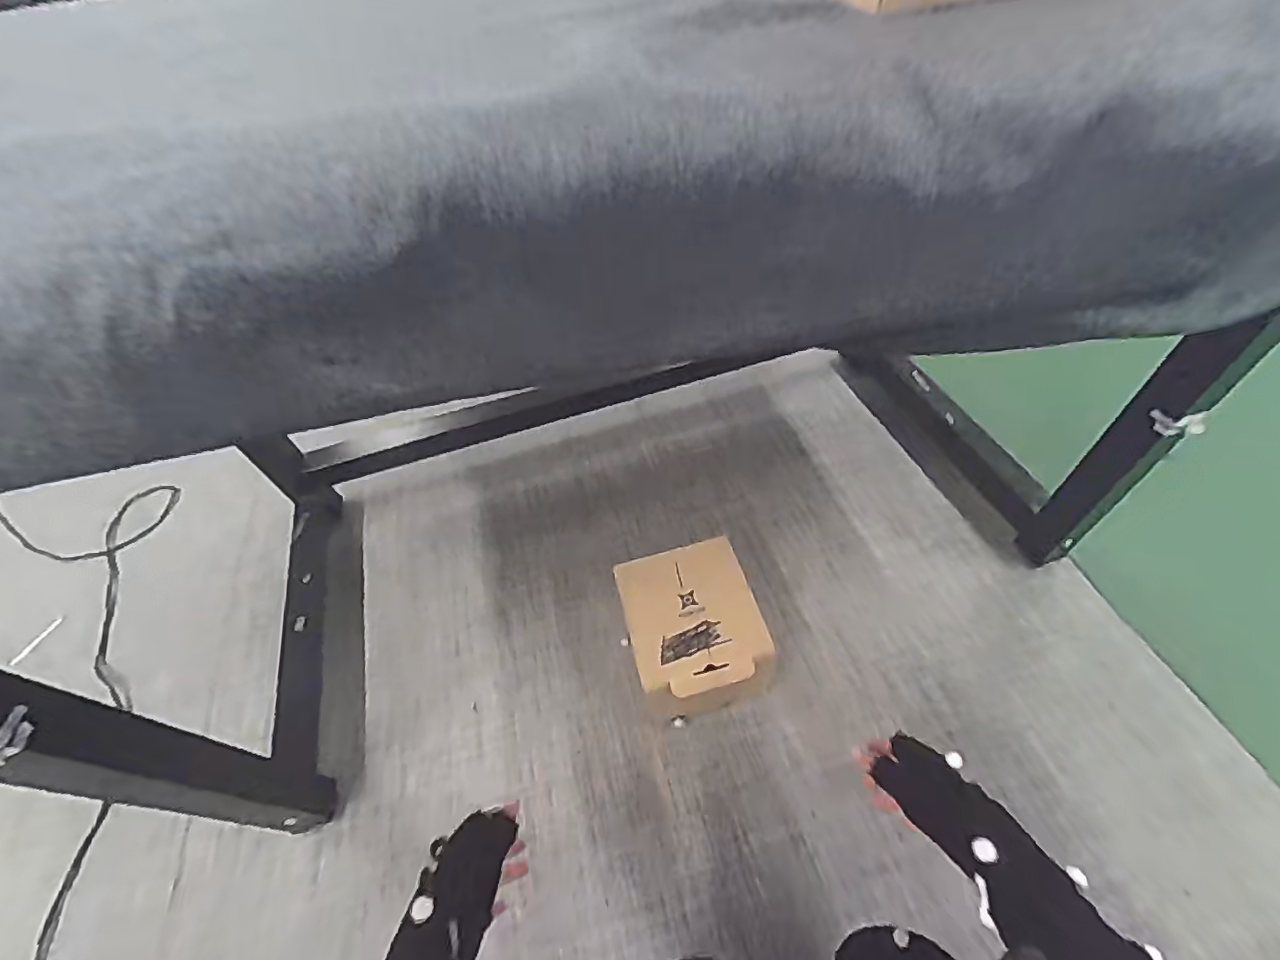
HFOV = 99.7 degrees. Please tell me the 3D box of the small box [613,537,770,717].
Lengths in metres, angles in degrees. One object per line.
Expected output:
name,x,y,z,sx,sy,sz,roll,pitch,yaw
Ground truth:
small box,0.070,0.212,0.755,0.168,0.176,0.179,-15,50,-4
